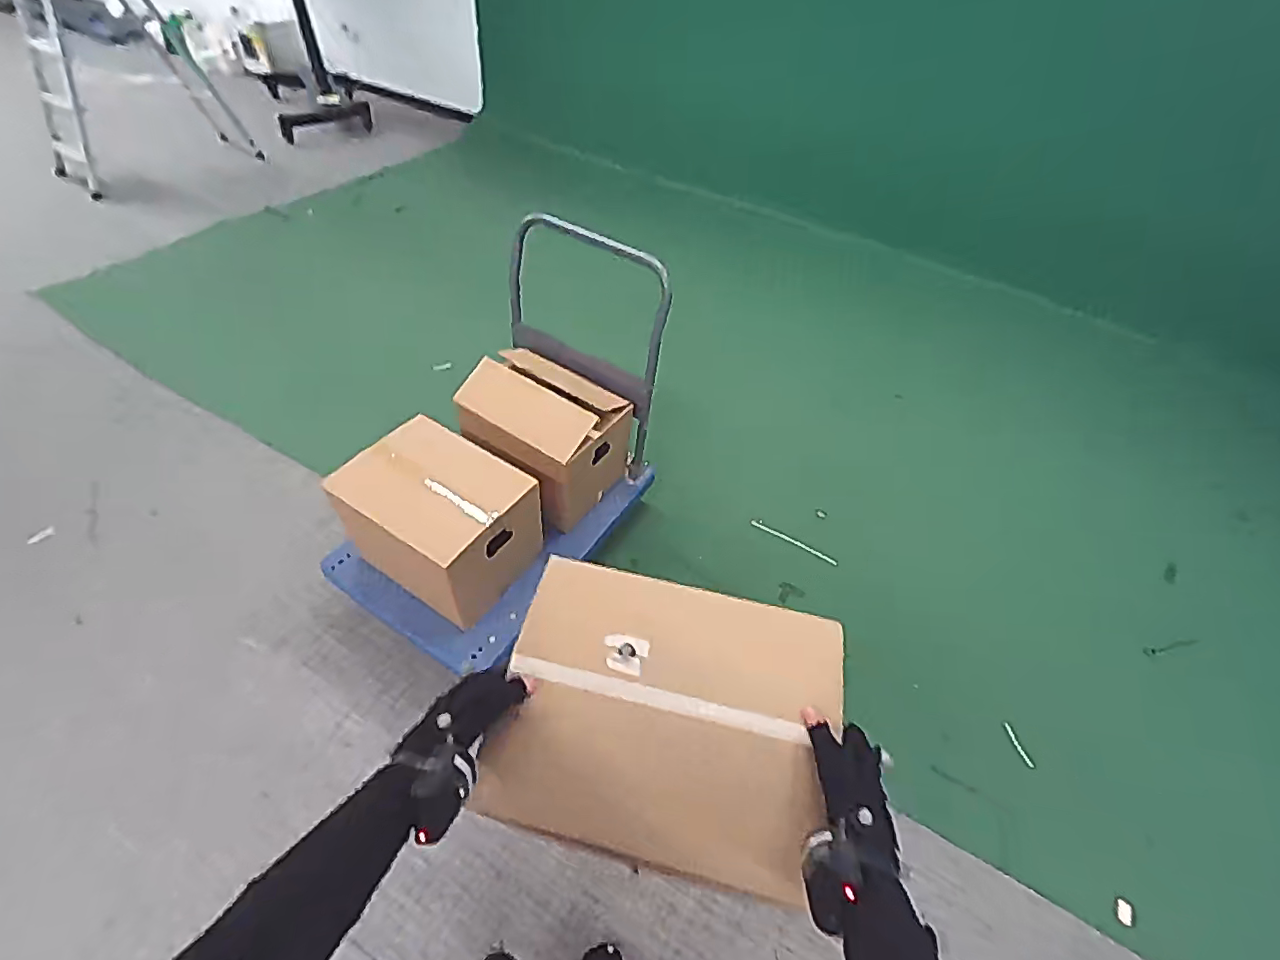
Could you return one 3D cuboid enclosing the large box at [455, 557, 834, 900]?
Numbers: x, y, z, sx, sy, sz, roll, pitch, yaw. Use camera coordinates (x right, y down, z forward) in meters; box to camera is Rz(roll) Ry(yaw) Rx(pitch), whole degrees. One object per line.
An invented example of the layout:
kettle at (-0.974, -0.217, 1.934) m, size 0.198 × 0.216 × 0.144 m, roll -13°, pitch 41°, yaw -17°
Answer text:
large box at (0.026, 0.346, 0.756) m, size 0.408 × 0.320 × 0.320 m, roll 11°, pitch 53°, yaw 7°
